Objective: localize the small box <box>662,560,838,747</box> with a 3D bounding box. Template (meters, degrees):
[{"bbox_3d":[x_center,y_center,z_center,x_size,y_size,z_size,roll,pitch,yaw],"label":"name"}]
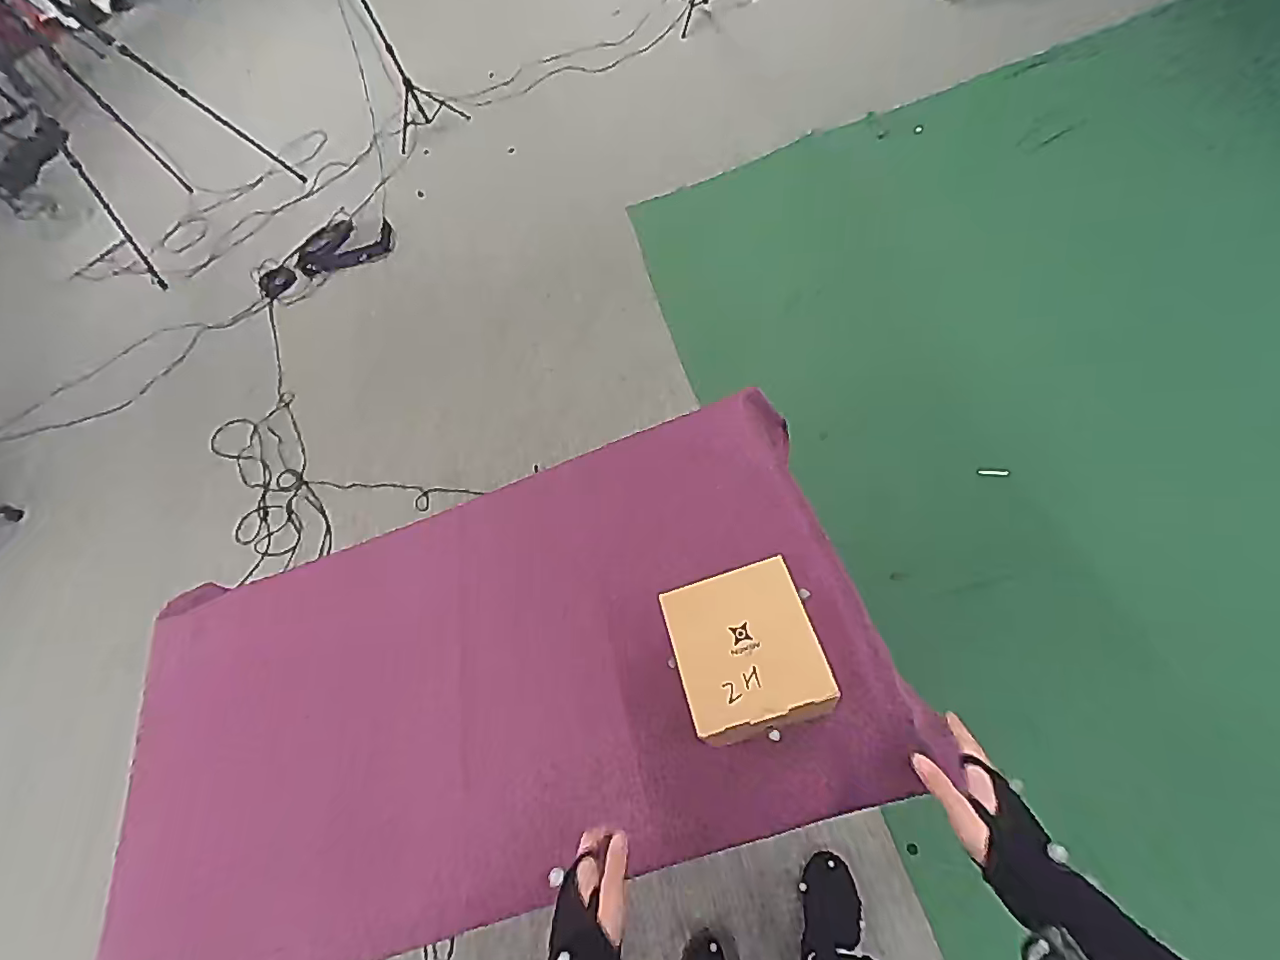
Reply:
[{"bbox_3d":[0.140,0.233,0.708,0.168,0.176,0.179,-19,58,5],"label":"small box"}]
